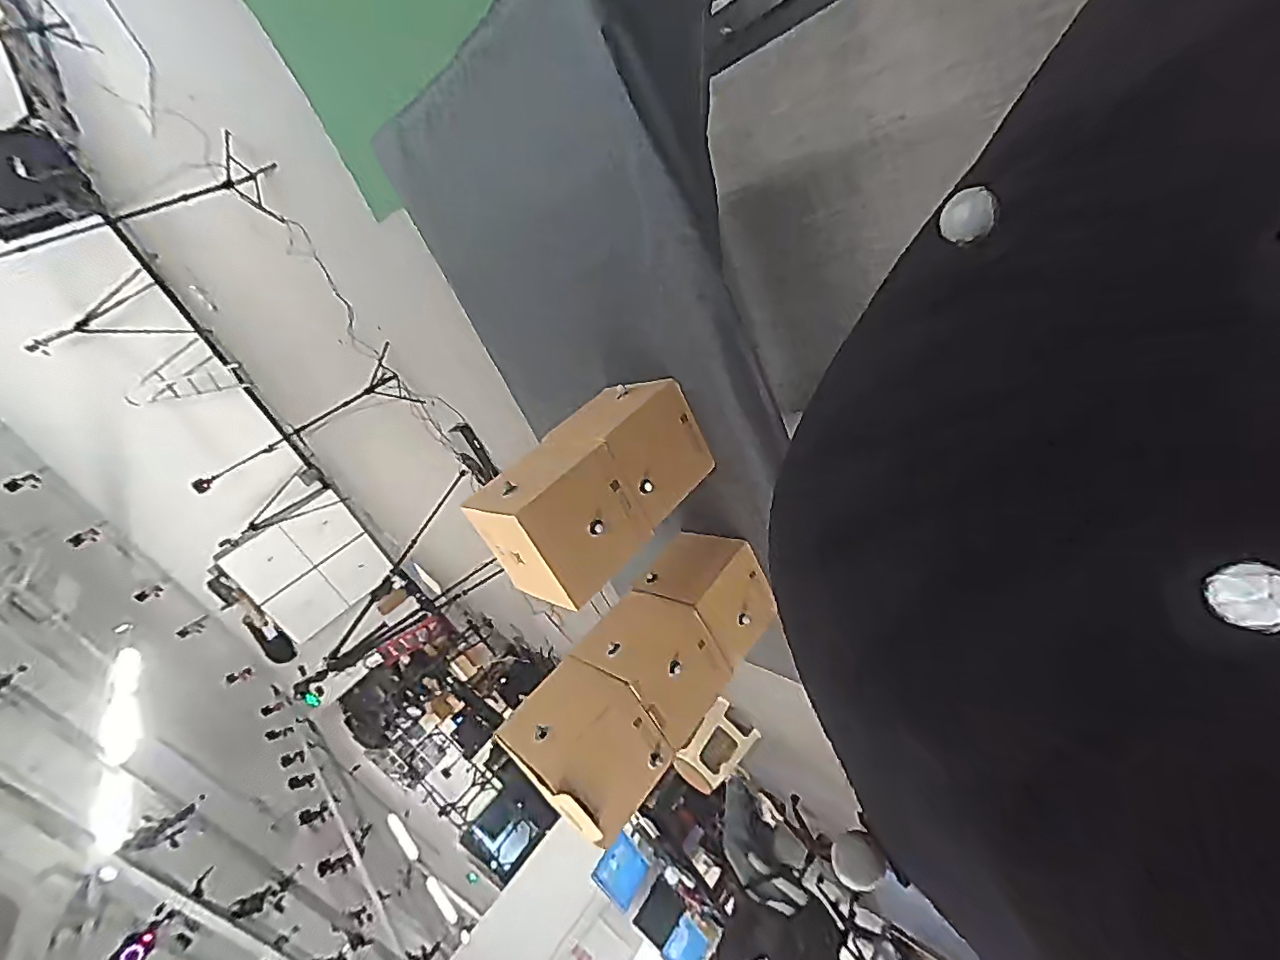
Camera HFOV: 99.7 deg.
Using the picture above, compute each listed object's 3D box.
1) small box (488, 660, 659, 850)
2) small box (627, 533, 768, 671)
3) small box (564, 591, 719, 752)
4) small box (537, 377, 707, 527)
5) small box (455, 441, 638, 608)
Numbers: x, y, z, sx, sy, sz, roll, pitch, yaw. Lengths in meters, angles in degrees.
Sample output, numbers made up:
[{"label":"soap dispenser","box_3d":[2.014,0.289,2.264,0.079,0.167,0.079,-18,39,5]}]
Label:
[{"label":"small box","box_3d":[-0.094,0.405,0.831,0.179,0.176,0.168,-1,124,52]},{"label":"small box","box_3d":[0.115,0.215,0.999,0.179,0.176,0.168,2,126,50]},{"label":"small box","box_3d":[0.012,0.310,0.914,0.179,0.176,0.168,1,126,52]},{"label":"small box","box_3d":[-0.025,-0.049,0.866,0.179,0.176,0.168,4,129,50]},{"label":"small box","box_3d":[-0.125,0.054,0.782,0.179,0.176,0.168,3,128,49]}]
